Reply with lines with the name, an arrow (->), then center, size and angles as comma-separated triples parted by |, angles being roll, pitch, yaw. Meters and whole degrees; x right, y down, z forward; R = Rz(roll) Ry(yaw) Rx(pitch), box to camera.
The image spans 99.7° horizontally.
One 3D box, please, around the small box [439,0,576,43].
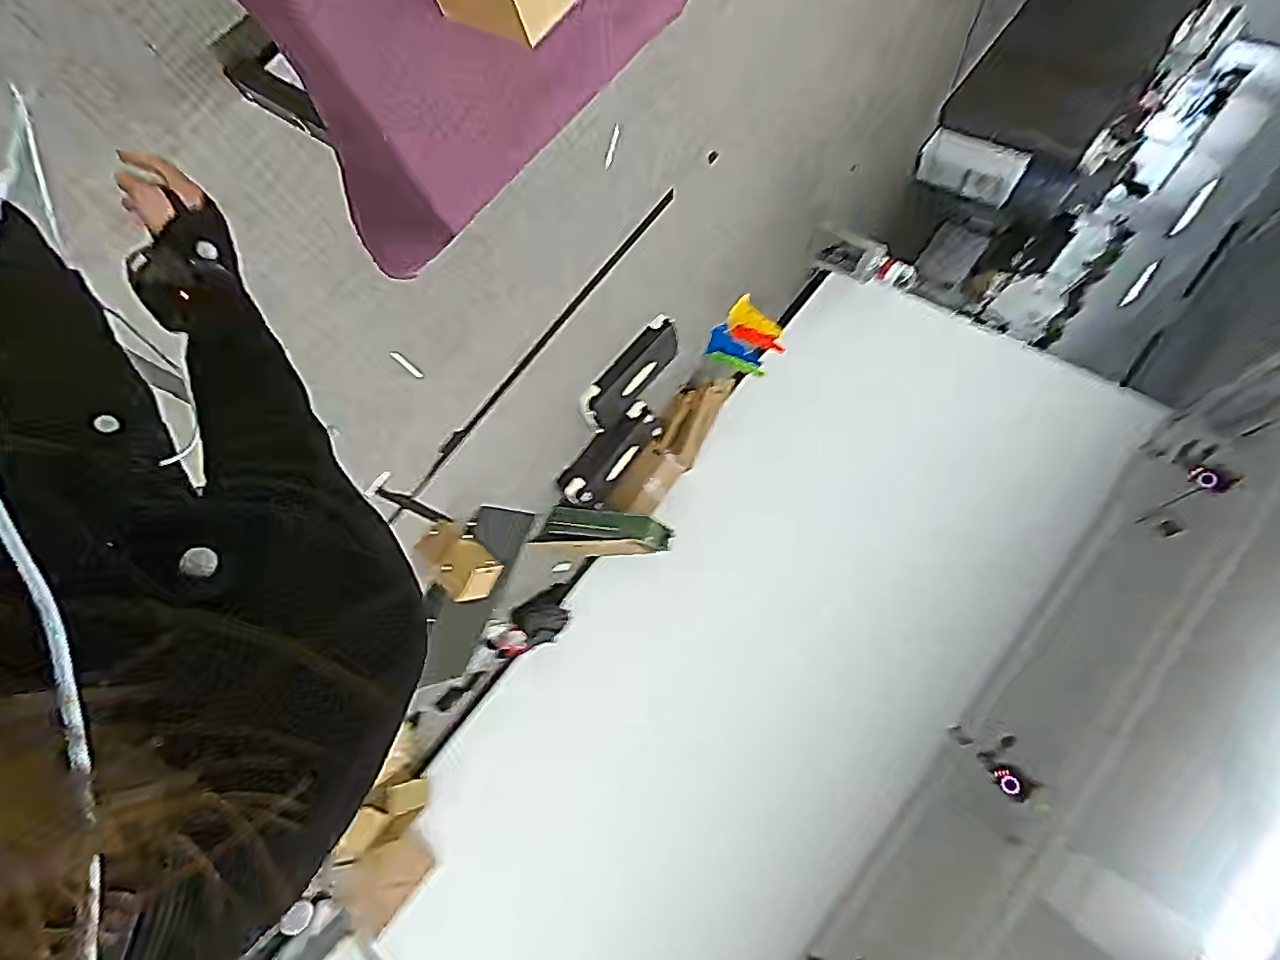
small box -> -0.155, -0.629, 0.580 | 0.168, 0.176, 0.179 | -51, 157, -7
